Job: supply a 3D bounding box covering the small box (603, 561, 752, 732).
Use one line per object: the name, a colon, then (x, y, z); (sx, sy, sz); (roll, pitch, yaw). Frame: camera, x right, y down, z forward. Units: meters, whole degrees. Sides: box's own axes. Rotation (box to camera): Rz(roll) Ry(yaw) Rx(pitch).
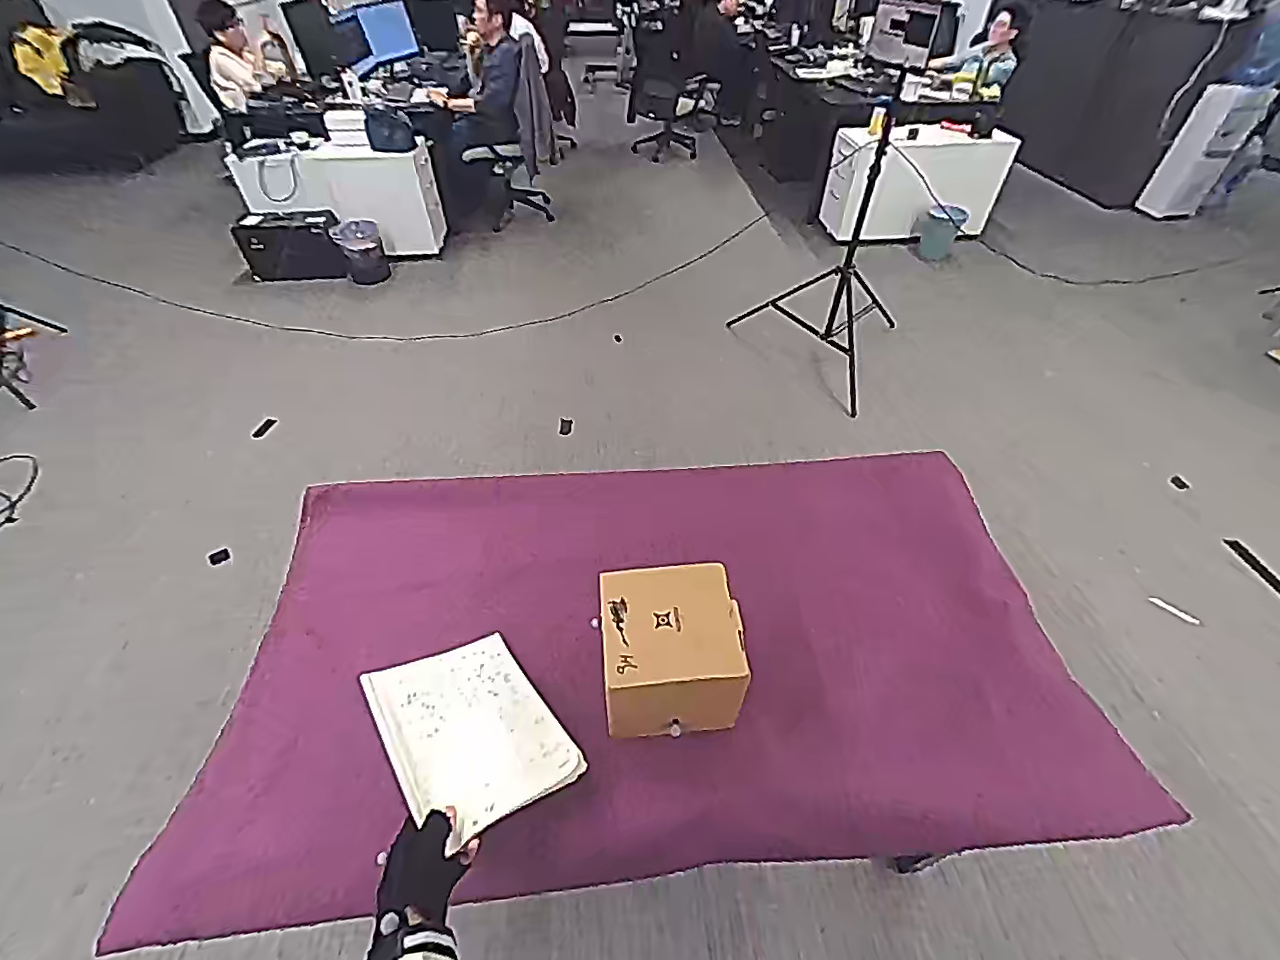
small box: (0.040, 0.231, 0.747); (0.179, 0.176, 0.168); (-4, 45, -4)
